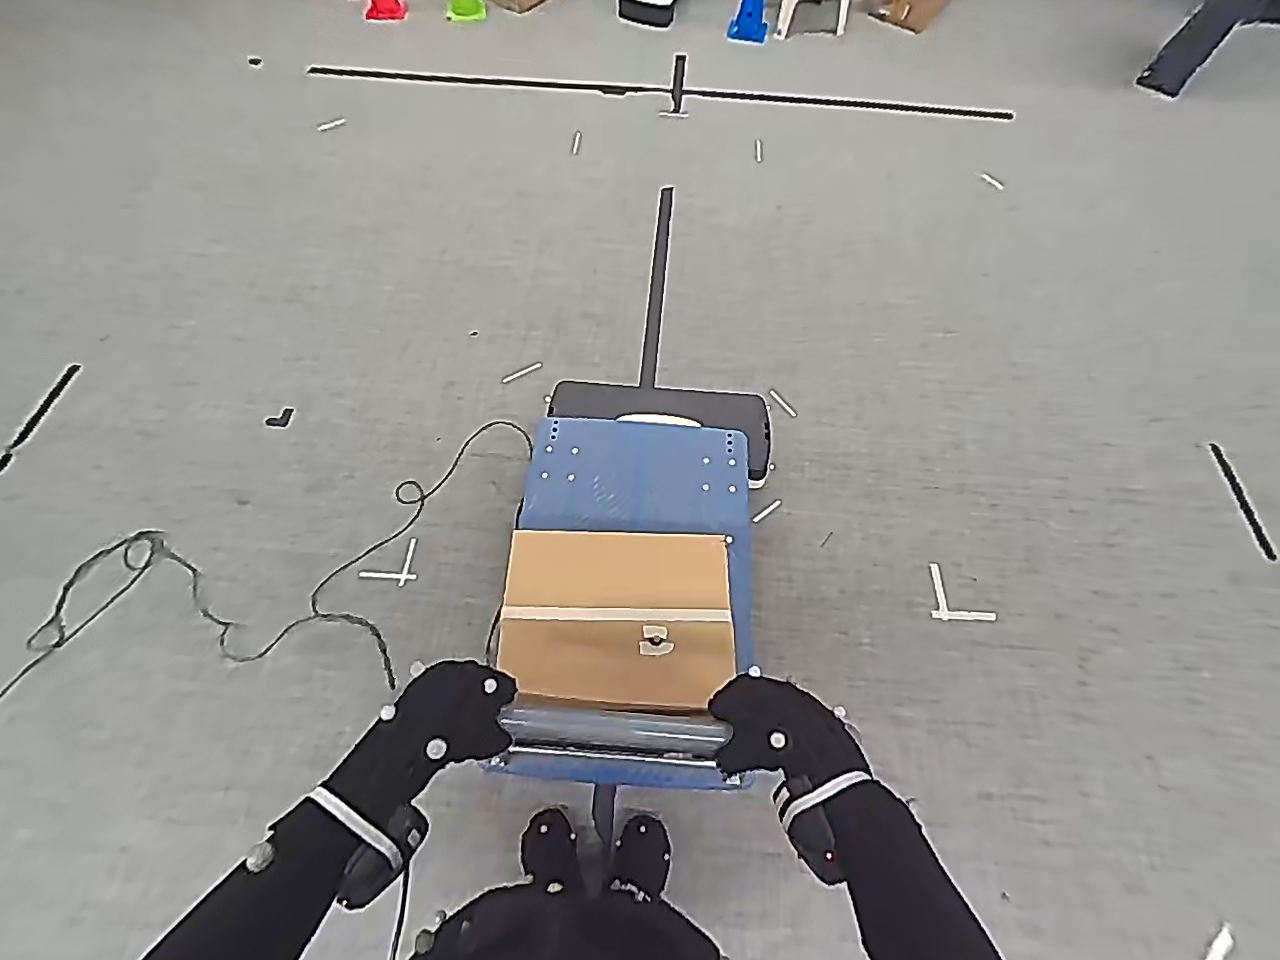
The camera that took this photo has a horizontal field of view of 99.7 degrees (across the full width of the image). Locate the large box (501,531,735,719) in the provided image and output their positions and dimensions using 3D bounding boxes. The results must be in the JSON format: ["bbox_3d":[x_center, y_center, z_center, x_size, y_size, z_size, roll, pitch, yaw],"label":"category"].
[{"bbox_3d":[-0.047,0.308,1.107,0.408,0.320,0.320,2,63,-3],"label":"large box"}]
